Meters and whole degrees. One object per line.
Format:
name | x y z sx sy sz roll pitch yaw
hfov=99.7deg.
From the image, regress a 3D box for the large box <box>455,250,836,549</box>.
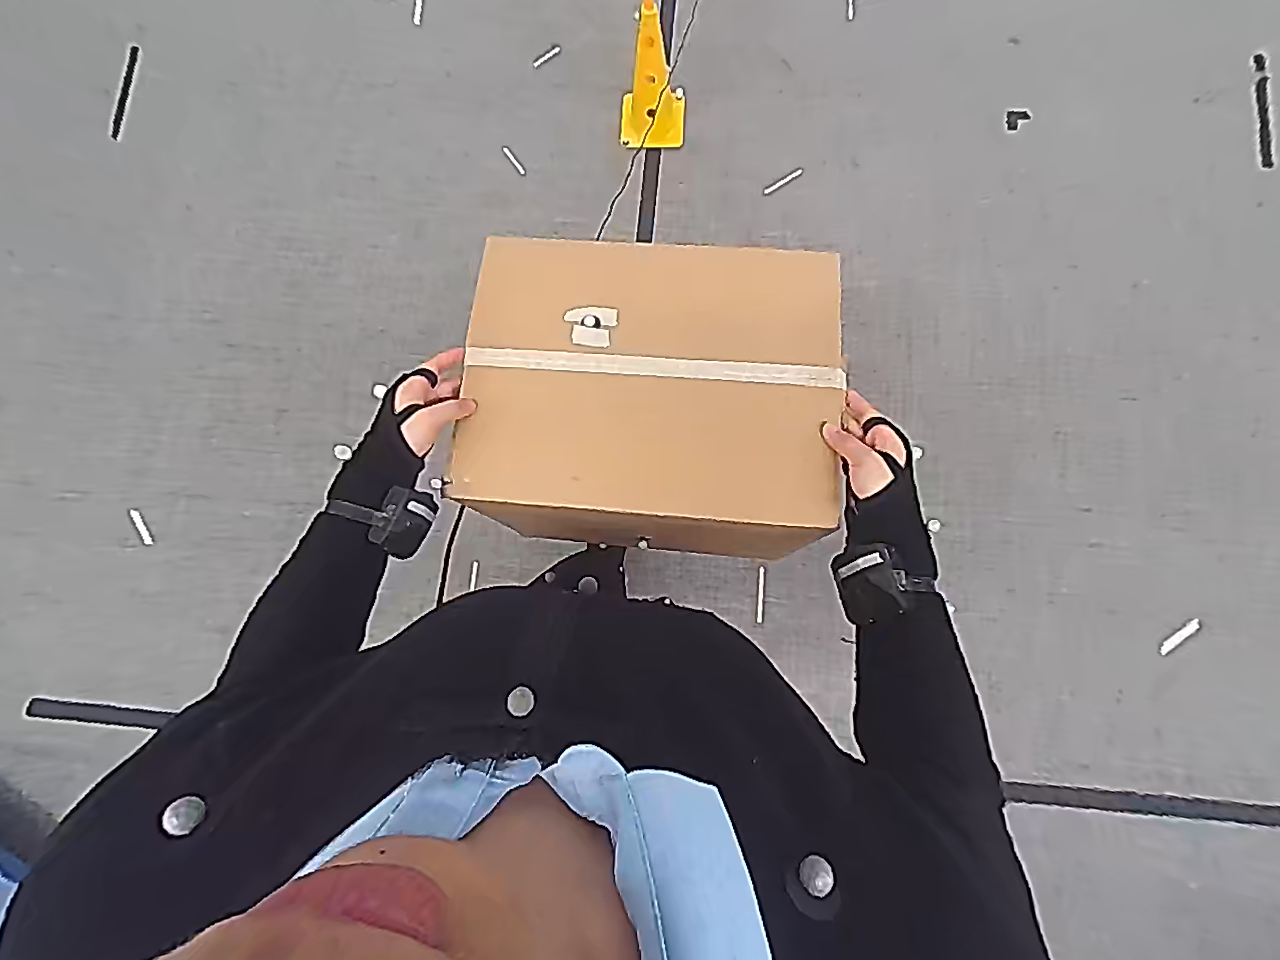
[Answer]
large box | 0.020 -0.082 0.738 0.408 0.320 0.320 3 75 5
